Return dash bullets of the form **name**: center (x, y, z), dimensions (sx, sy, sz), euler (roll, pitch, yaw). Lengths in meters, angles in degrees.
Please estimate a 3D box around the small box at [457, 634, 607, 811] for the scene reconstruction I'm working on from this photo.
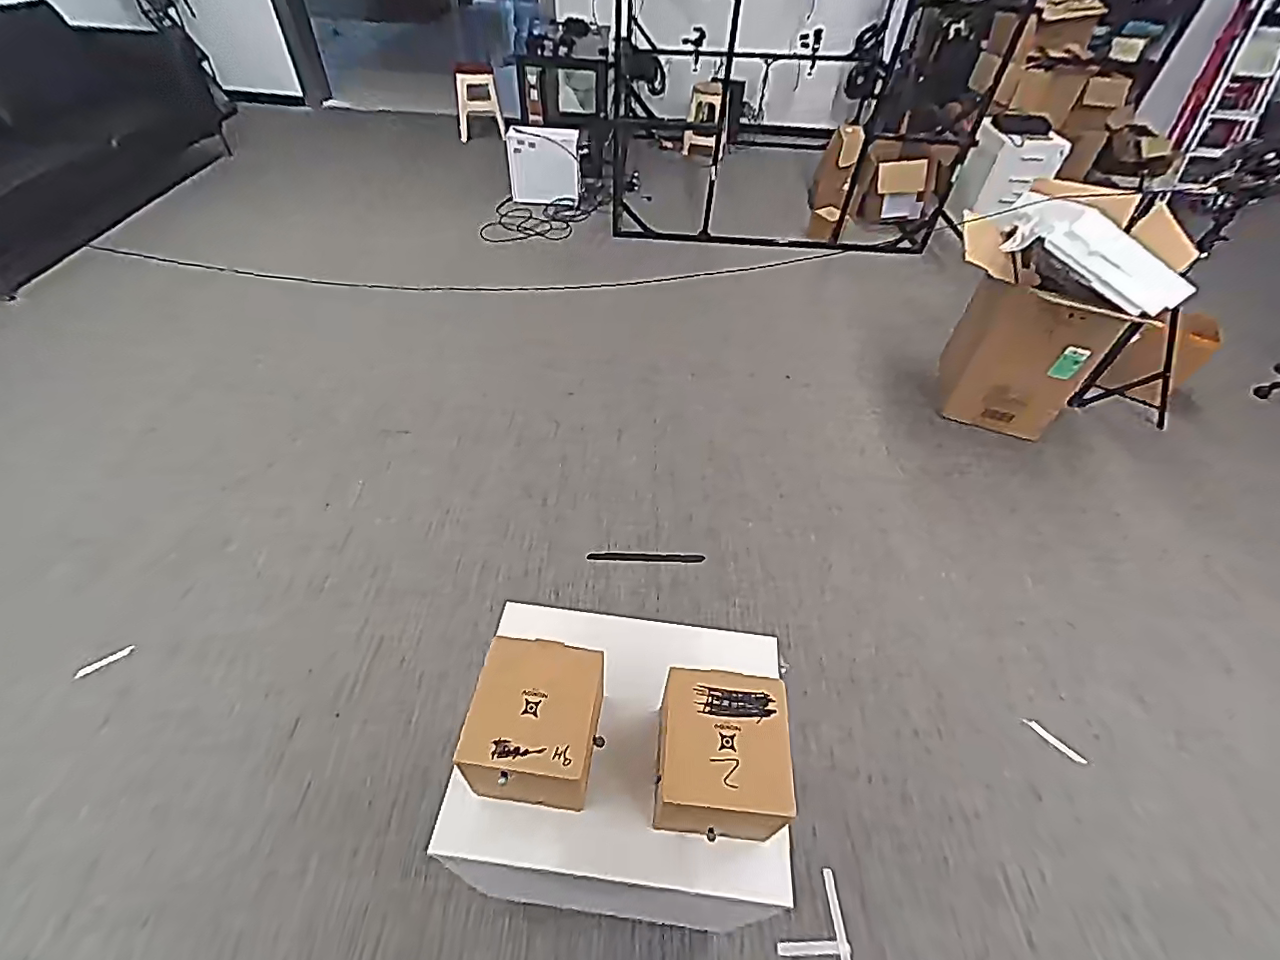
- **small box**: center (-0.146, 0.354, 0.790), dimensions (0.168, 0.176, 0.179), euler (8, 46, 3)
